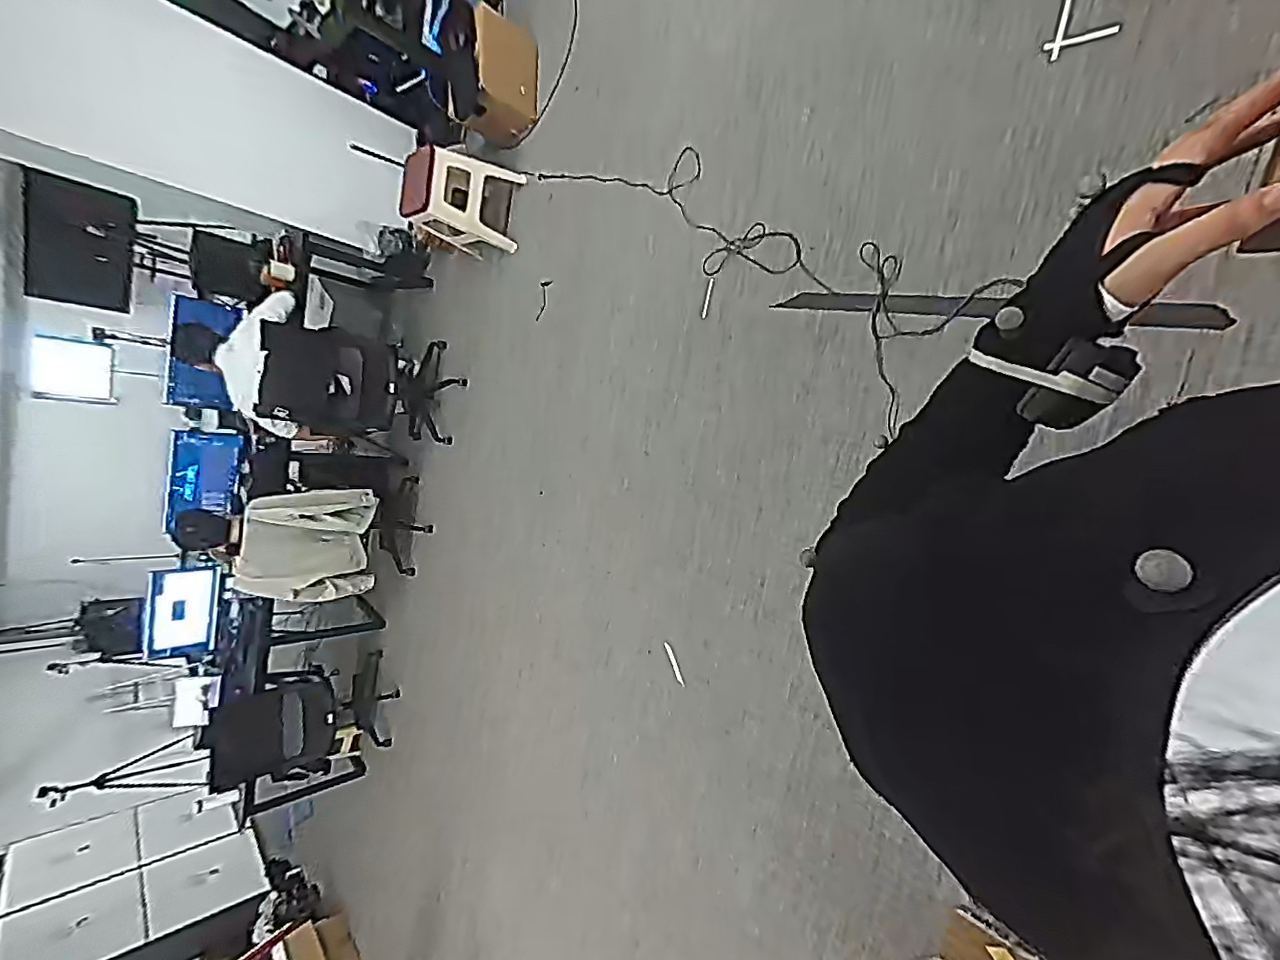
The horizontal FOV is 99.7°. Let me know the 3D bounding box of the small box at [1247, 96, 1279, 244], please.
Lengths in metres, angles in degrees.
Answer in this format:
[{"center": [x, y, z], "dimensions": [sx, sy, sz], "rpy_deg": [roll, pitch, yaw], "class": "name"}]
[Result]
[{"center": [0.437, -0.228, 0.255], "dimensions": [0.168, 0.176, 0.179], "rpy_deg": [17, 106, 41], "class": "small box"}]
